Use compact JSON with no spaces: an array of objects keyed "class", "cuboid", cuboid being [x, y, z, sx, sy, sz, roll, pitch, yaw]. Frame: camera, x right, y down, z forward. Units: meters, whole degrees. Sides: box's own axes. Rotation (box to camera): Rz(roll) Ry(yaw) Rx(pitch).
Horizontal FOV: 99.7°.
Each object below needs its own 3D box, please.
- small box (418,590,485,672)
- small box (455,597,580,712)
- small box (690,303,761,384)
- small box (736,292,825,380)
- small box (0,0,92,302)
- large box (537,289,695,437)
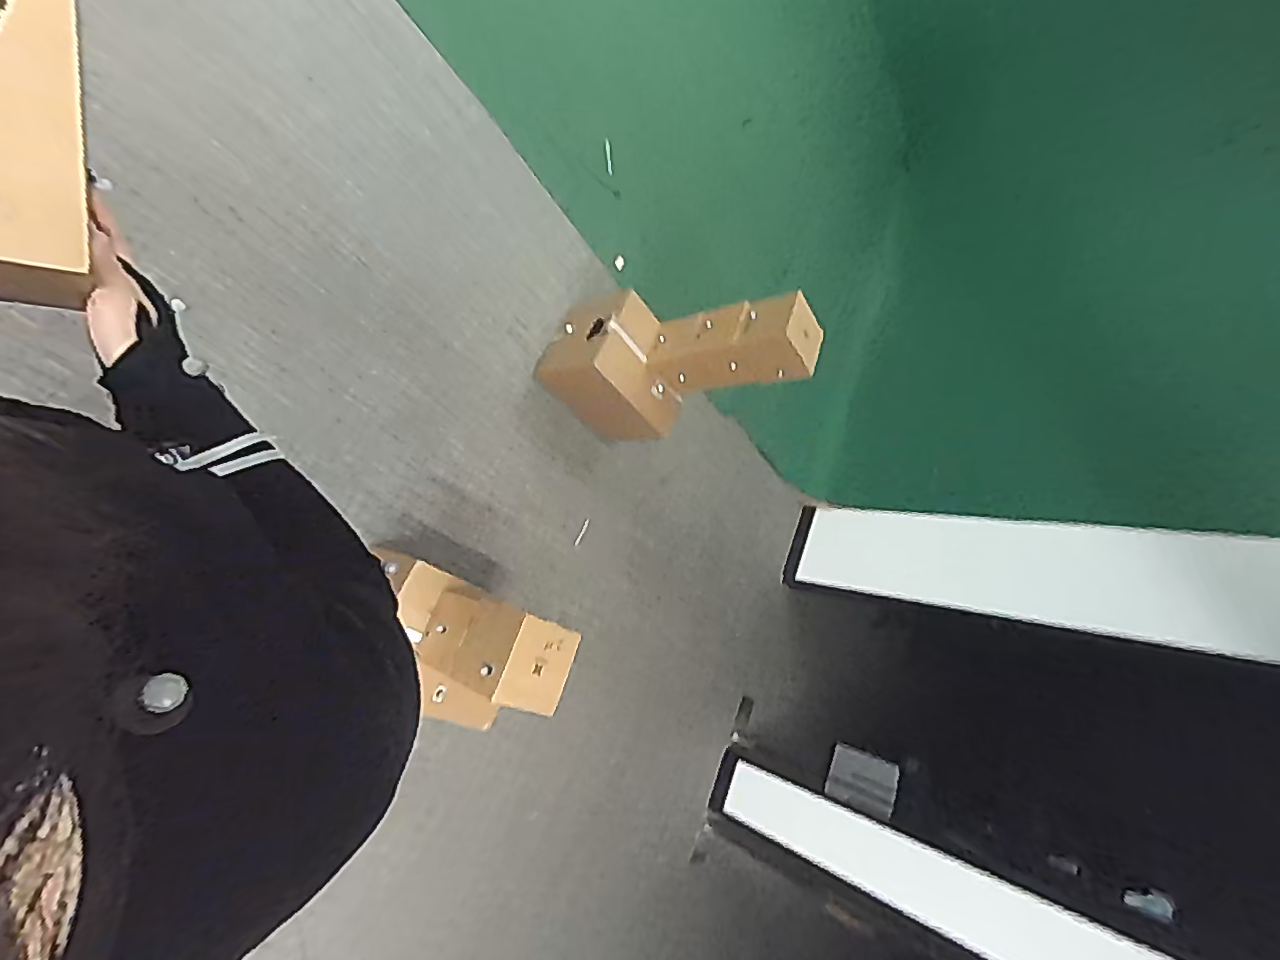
[{"class":"small box","cuboid":[-0.384,0.365,1.267,0.179,0.176,0.168,37,65,-40]},{"class":"small box","cuboid":[-0.265,0.366,1.152,0.168,0.176,0.179,38,64,-41]},{"class":"small box","cuboid":[0.283,-0.413,1.668,0.179,0.176,0.168,41,61,-38]},{"class":"small box","cuboid":[0.405,-0.405,1.560,0.179,0.176,0.168,43,59,-37]},{"class":"small box","cuboid":[-0.461,-0.223,0.334,0.168,0.176,0.179,-4,99,-44]},{"class":"large box","cuboid":[-0.076,-0.385,1.884,0.408,0.320,0.320,42,63,-40]}]
